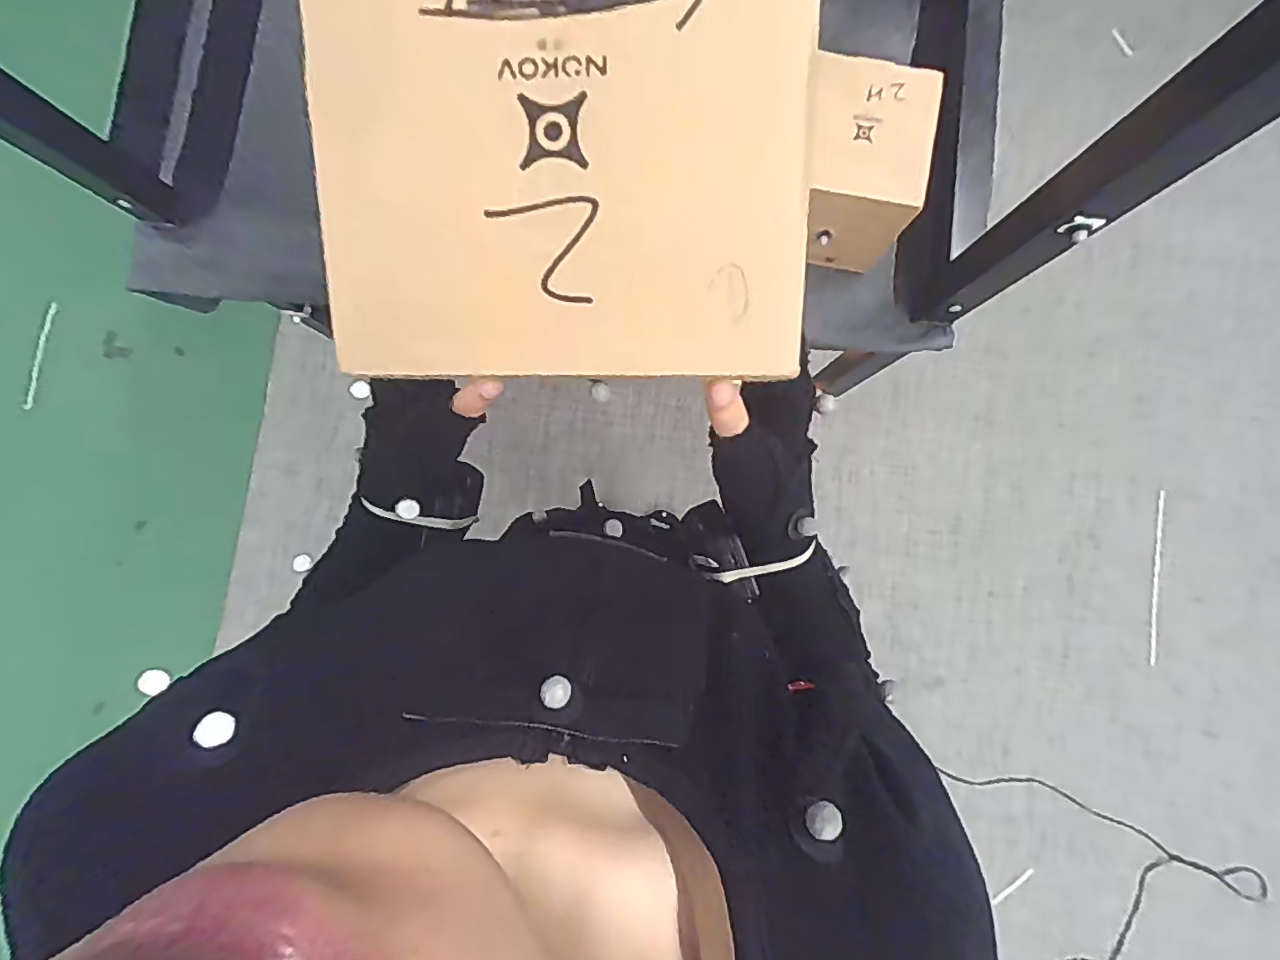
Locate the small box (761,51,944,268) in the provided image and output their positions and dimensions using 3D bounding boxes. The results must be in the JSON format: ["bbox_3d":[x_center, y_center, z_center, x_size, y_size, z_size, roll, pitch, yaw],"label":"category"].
[{"bbox_3d":[0.267,-0.410,0.721,0.168,0.176,0.179,11,85,0],"label":"small box"}]
